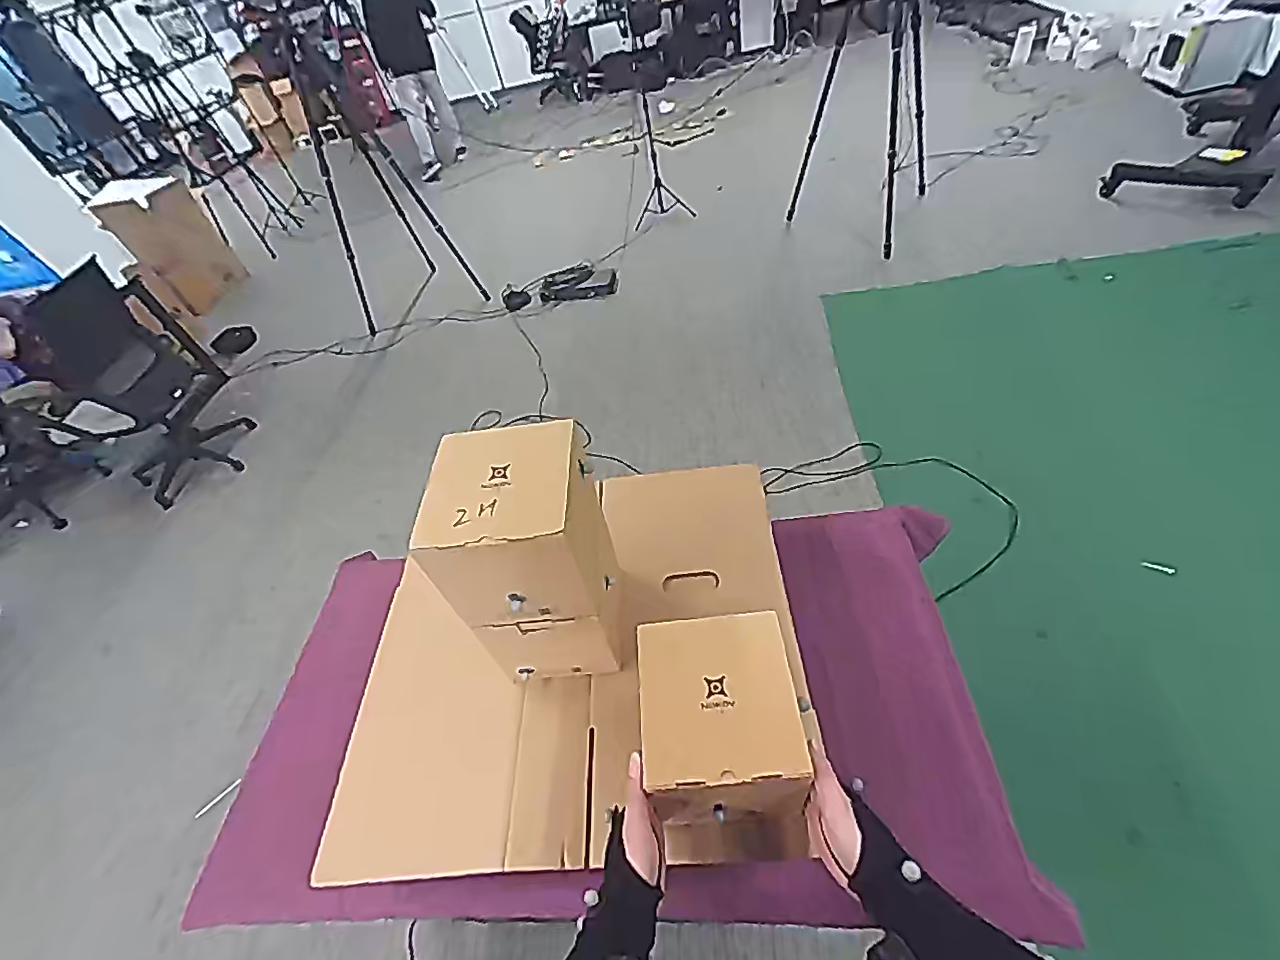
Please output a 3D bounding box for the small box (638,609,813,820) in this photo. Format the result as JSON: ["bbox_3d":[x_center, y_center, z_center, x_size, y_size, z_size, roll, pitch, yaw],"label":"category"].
[{"bbox_3d":[0.090,0.274,0.628,0.168,0.176,0.179,-8,48,4],"label":"small box"}]

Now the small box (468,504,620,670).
[{"bbox_3d":[-0.122,0.159,0.771,0.168,0.176,0.179,-6,47,5],"label":"small box"}]

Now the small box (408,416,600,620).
[{"bbox_3d":[-0.146,0.048,0.653,0.168,0.176,0.179,-6,48,5],"label":"small box"}]
